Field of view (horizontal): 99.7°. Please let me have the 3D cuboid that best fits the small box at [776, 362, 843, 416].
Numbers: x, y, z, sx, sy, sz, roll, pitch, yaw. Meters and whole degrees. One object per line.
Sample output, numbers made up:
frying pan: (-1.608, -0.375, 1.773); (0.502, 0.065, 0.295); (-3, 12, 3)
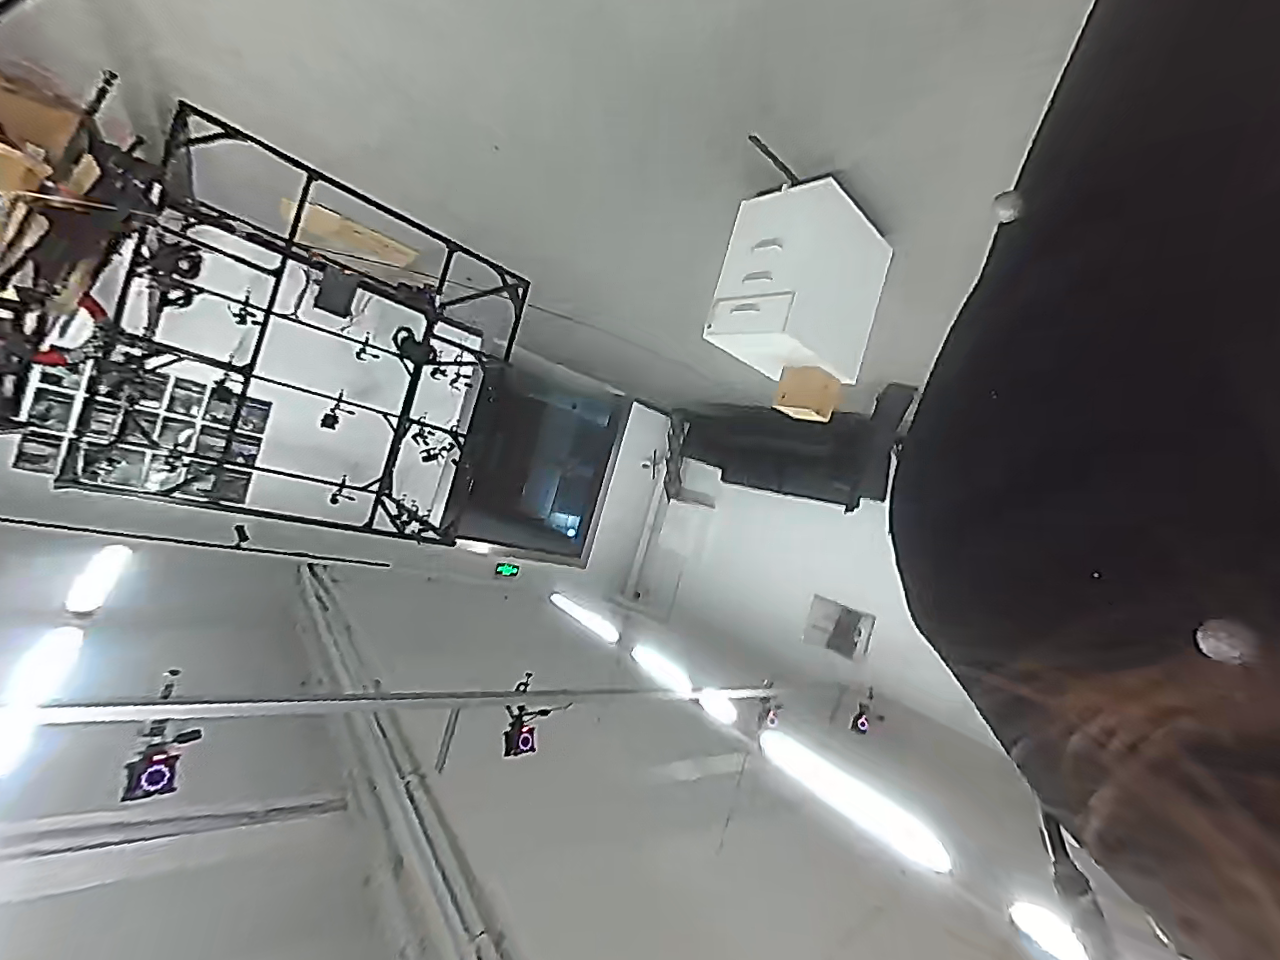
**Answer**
small box: (0.684, -0.370, 2.176); (0.168, 0.176, 0.179); (16, -179, -39)
